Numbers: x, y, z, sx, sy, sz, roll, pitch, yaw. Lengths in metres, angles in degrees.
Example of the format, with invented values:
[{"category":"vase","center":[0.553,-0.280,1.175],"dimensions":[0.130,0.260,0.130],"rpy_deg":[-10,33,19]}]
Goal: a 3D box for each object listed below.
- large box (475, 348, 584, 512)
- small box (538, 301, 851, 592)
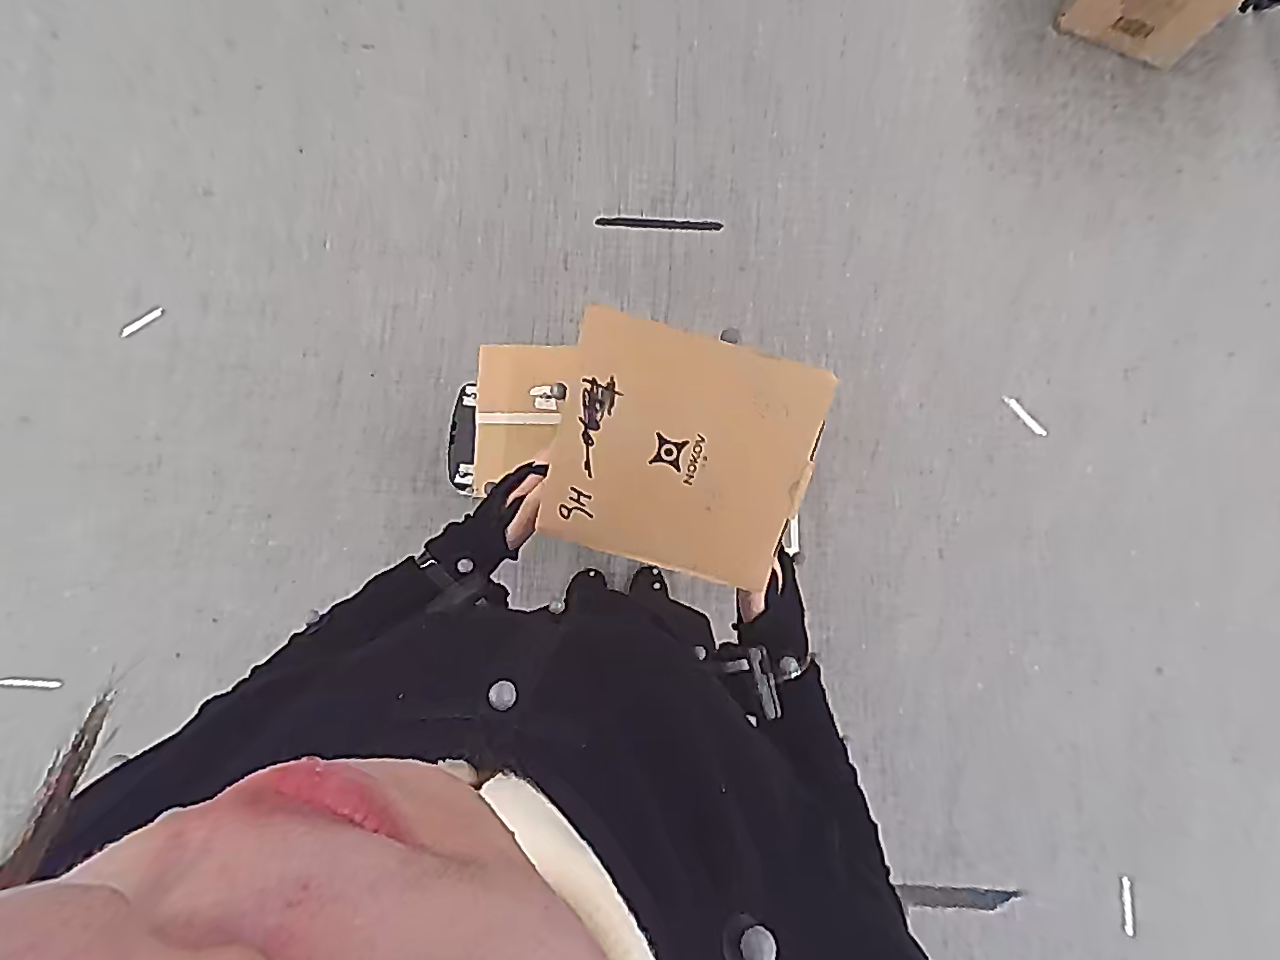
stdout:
[{"category":"large box","center":[-0.121,-0.092,1.209],"dimensions":[0.408,0.320,0.320],"rpy_deg":[0,81,-1]},{"category":"small box","center":[0.035,-0.037,0.443],"dimensions":[0.179,0.176,0.168],"rpy_deg":[16,104,-2]}]
